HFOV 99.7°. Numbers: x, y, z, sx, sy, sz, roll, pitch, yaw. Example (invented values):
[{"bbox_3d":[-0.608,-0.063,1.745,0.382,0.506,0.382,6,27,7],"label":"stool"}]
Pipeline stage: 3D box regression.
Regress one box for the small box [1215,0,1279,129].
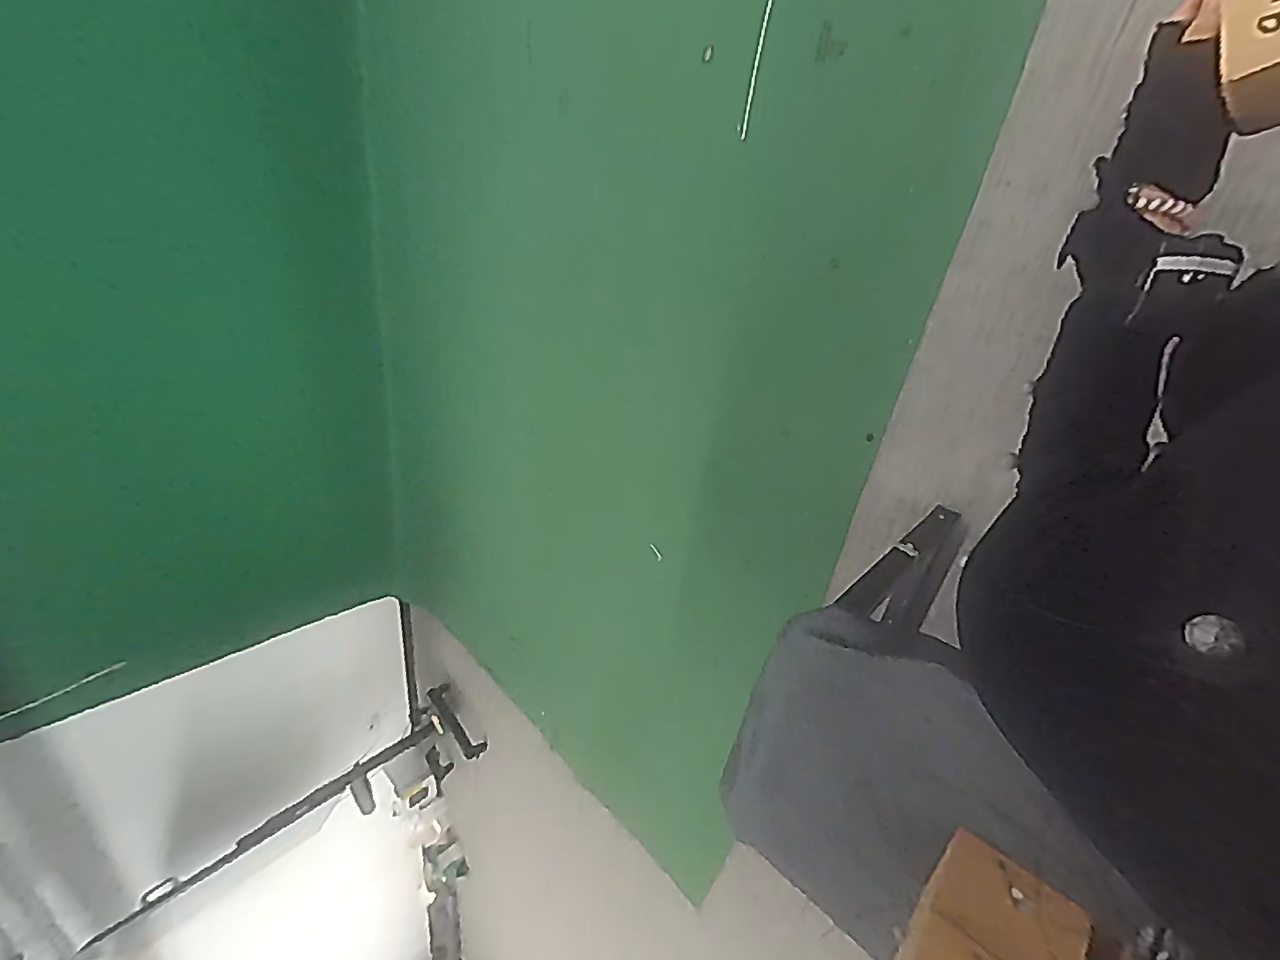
[{"bbox_3d":[0.443,-0.330,0.294,0.179,0.176,0.168,0,101,50],"label":"small box"}]
